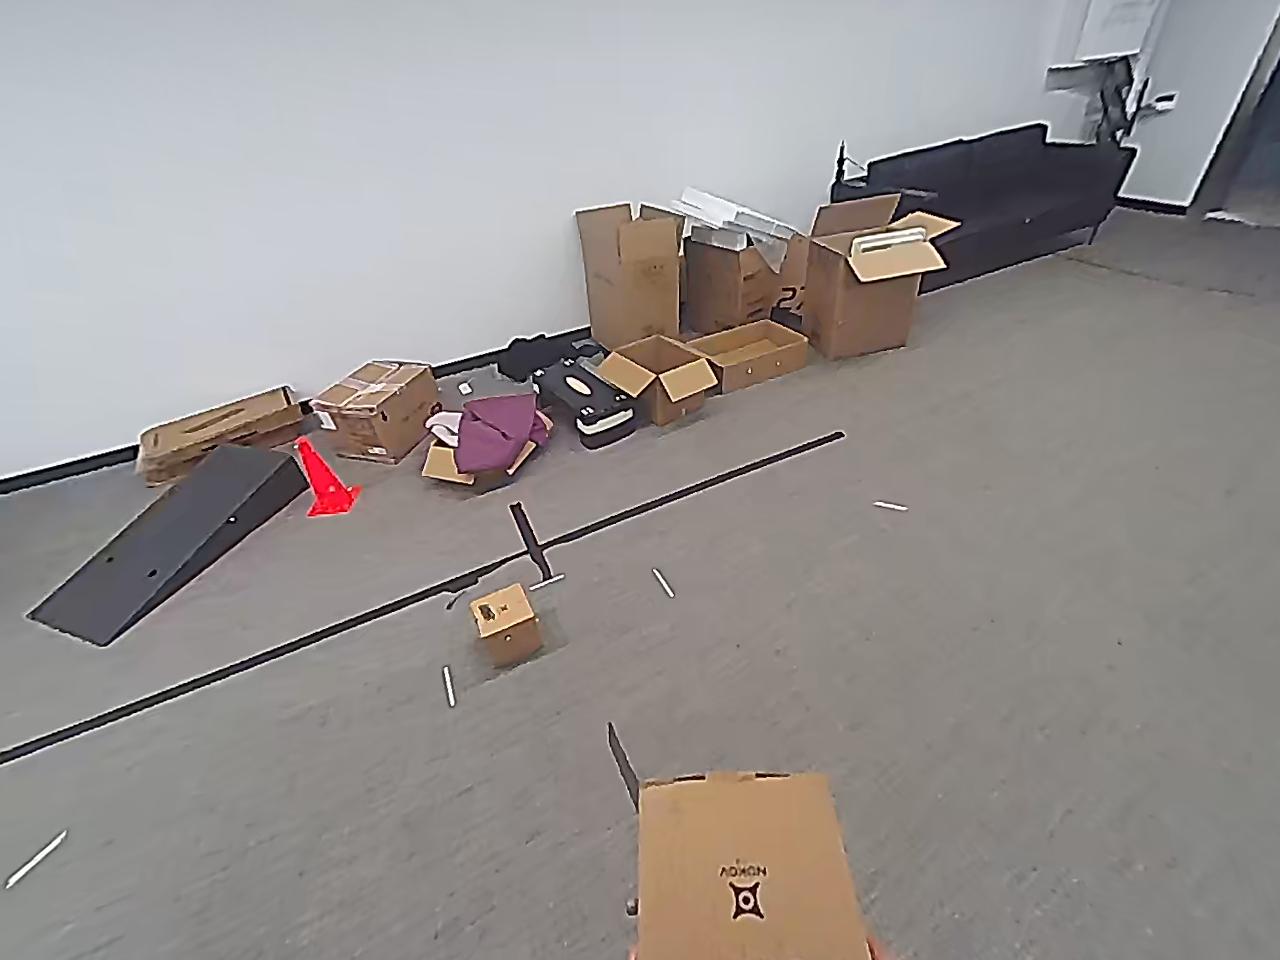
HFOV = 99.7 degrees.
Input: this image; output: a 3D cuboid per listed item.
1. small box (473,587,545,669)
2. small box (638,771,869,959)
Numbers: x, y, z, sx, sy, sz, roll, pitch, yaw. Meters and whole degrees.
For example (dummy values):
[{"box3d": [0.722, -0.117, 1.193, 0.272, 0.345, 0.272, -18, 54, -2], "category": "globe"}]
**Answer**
[{"box3d": [-0.438, 0.498, 1.810, 0.179, 0.176, 0.168, -21, 40, -19], "category": "small box"}, {"box3d": [0.087, 0.378, 0.463, 0.168, 0.176, 0.179, -4, 38, 4], "category": "small box"}]
